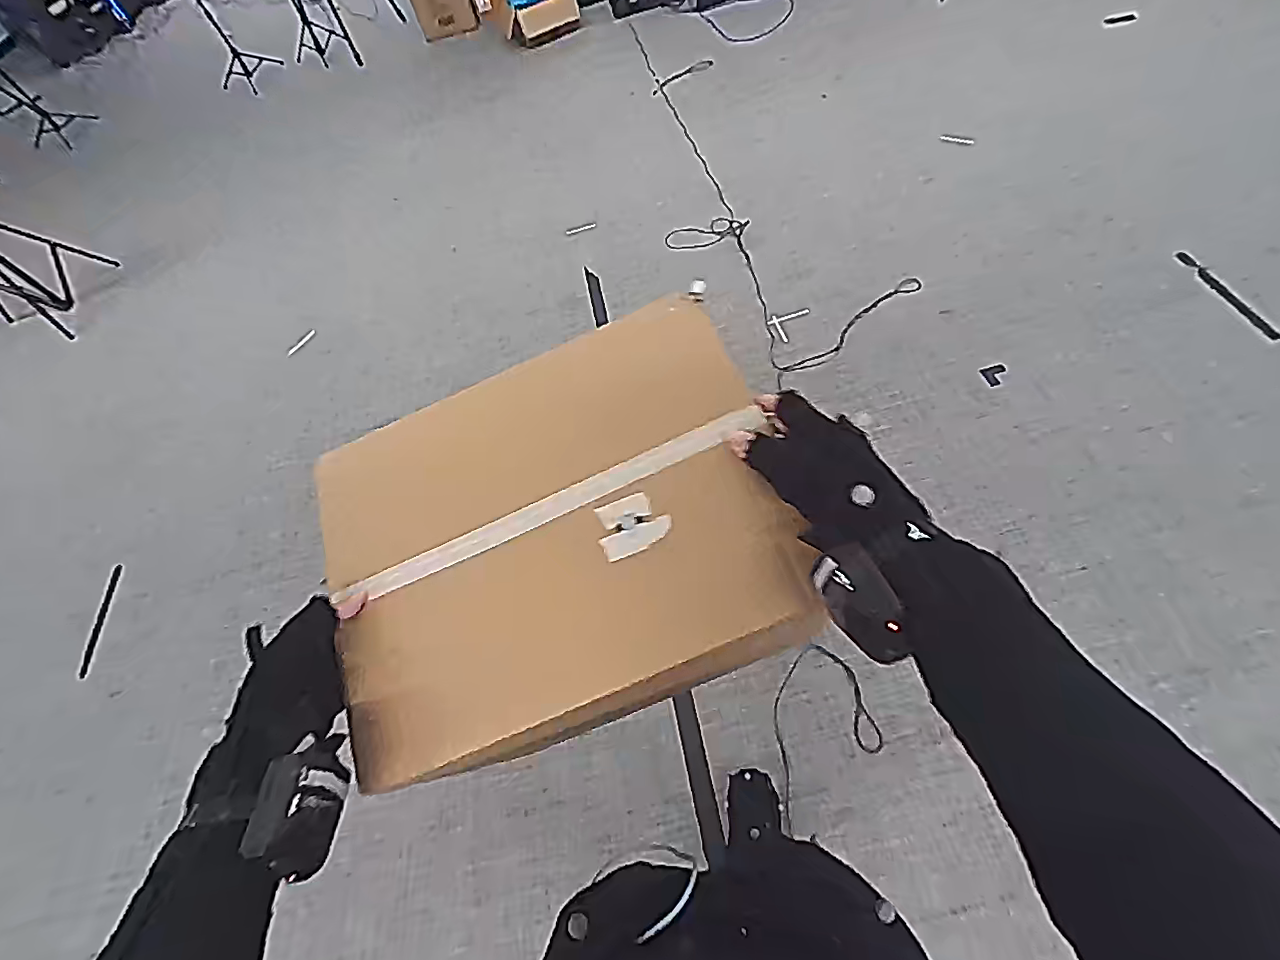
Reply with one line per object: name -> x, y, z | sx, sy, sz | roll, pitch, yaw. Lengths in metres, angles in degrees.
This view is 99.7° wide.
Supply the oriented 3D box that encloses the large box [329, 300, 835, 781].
large box -> -0.054, 0.084, 0.617 | 0.408, 0.320, 0.320 | -25, 66, 1
